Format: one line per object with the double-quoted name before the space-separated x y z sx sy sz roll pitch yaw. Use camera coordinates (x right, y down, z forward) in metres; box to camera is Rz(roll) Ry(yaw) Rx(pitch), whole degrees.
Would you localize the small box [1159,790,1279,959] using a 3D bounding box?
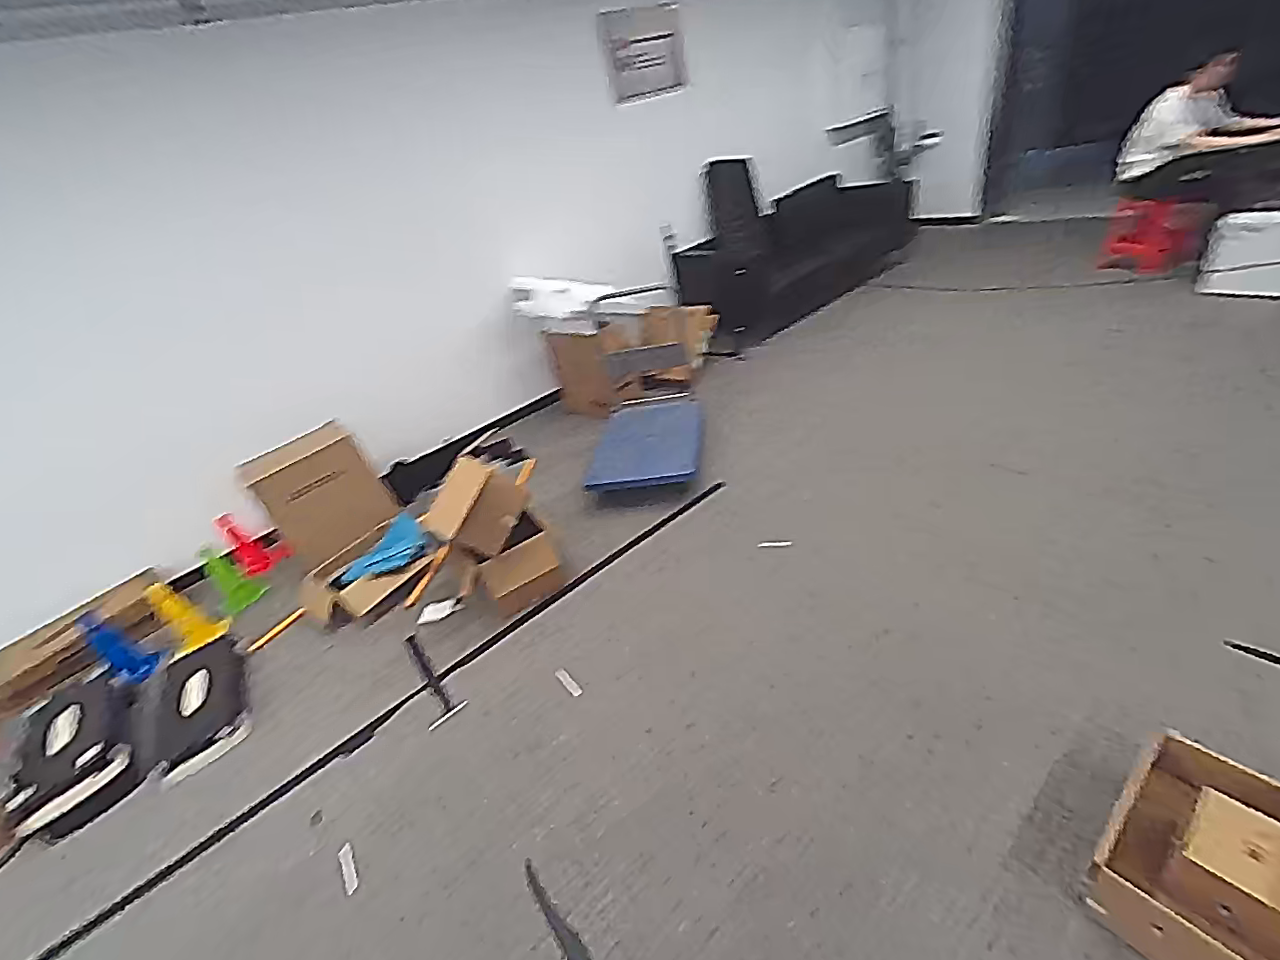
"small box" 1.148 0.759 1.043 0.179 0.176 0.168 -34 38 -28
